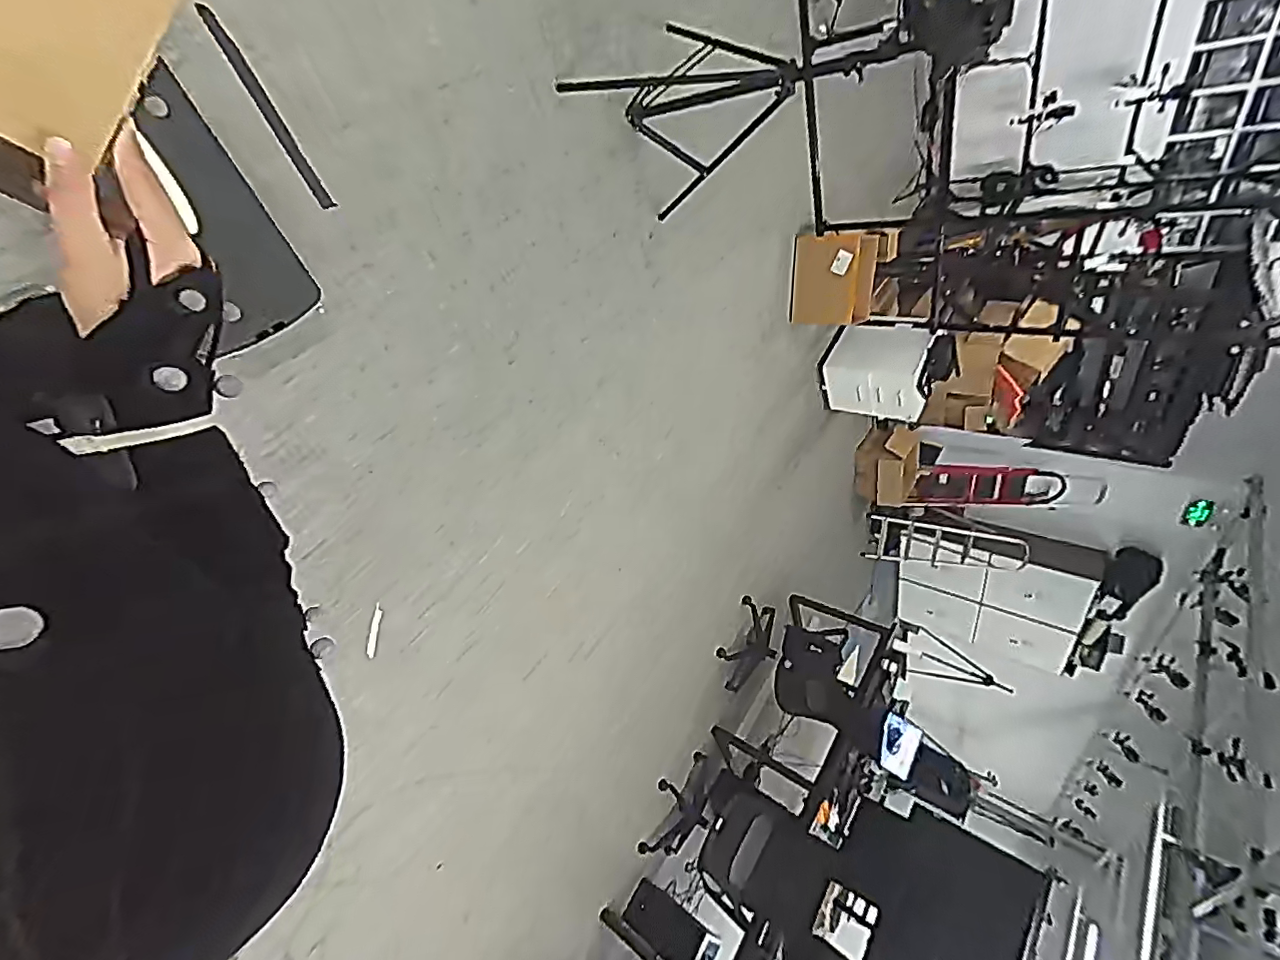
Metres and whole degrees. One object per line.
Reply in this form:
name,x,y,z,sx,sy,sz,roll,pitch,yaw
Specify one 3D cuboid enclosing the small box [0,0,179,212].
small box,-0.394,-0.284,0.305,0.168,0.176,0.179,27,77,-50
